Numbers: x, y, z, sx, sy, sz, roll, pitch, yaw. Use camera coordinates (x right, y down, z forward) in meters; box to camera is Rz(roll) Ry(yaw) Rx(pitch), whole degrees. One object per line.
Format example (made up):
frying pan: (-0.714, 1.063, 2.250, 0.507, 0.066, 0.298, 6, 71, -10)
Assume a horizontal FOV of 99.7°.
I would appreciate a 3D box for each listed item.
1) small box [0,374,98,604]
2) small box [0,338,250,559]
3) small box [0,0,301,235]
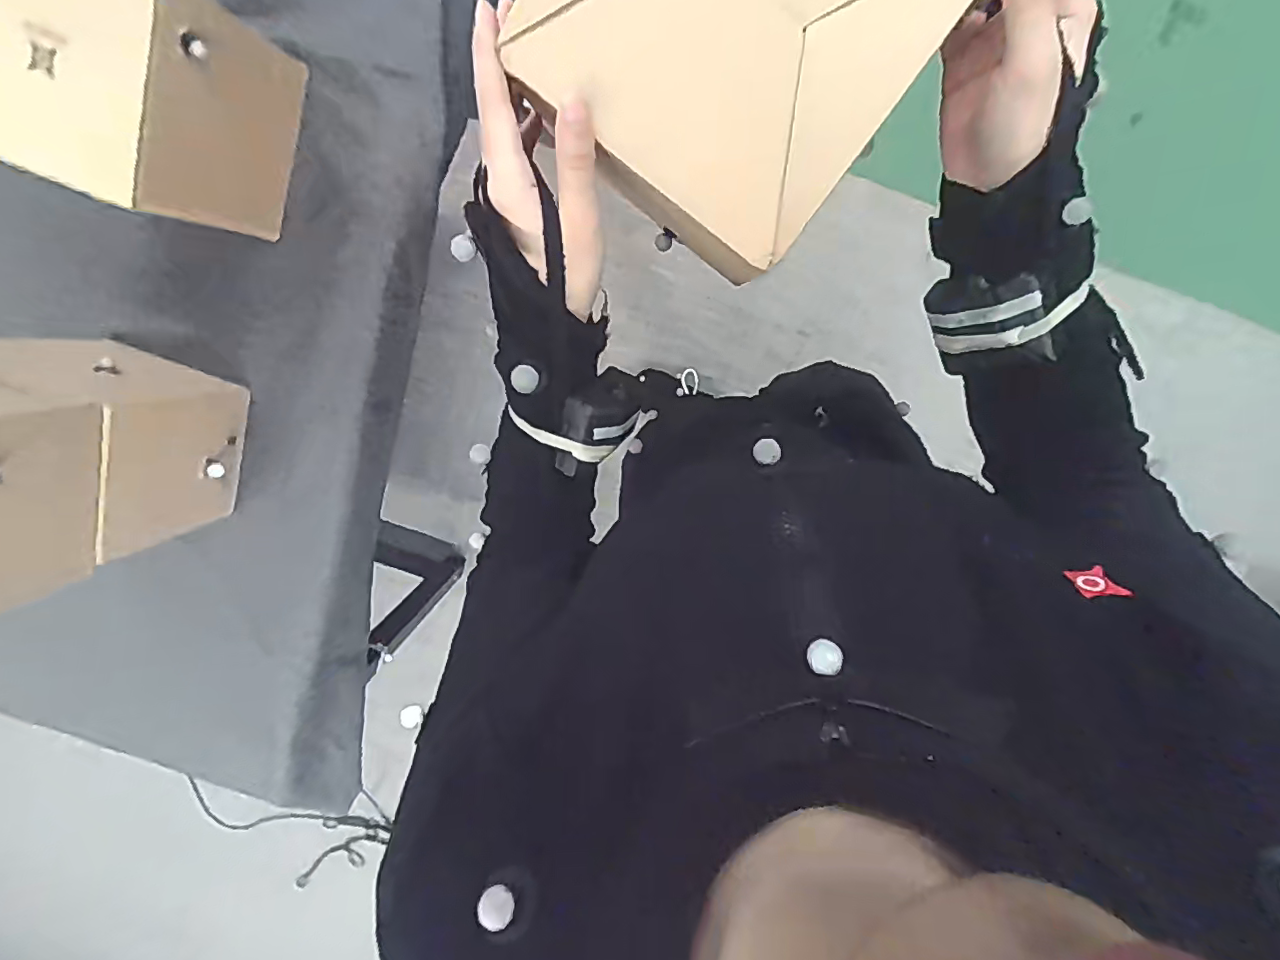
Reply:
small box: (-0.581, 0.002, 0.419, 0.168, 0.176, 0.179, 19, 106, 0)
small box: (-0.570, -0.044, 0.574, 0.179, 0.176, 0.168, 19, 105, -2)
small box: (-0.448, -0.347, 0.491, 0.168, 0.176, 0.179, 21, 104, -1)
